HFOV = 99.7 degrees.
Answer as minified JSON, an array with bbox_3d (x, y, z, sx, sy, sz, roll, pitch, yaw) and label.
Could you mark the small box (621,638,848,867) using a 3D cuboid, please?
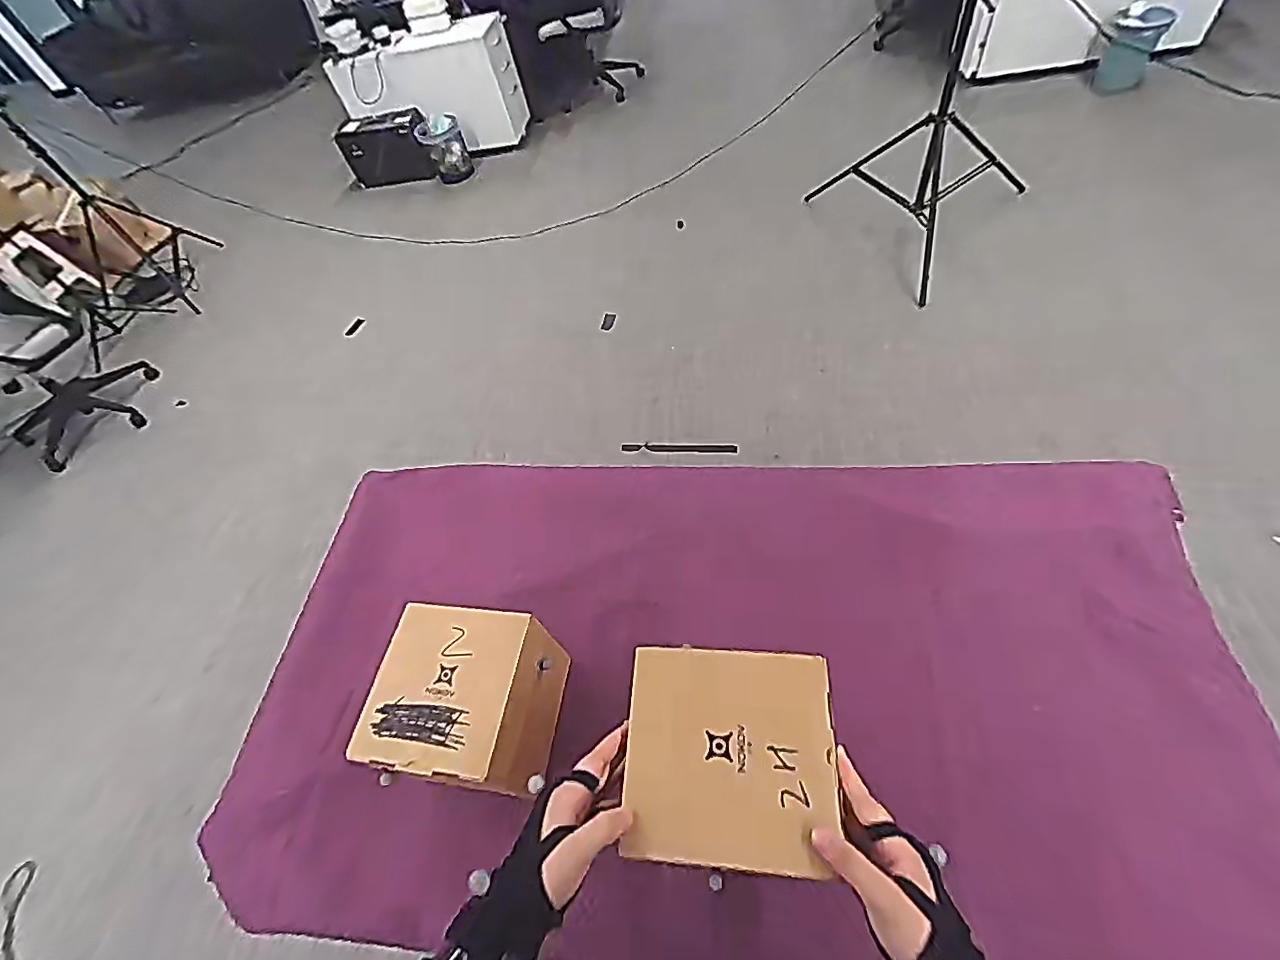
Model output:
[{"bbox_3d":[0.087,0.264,0.521,0.179,0.176,0.168,1,56,8],"label":"small box"}]
